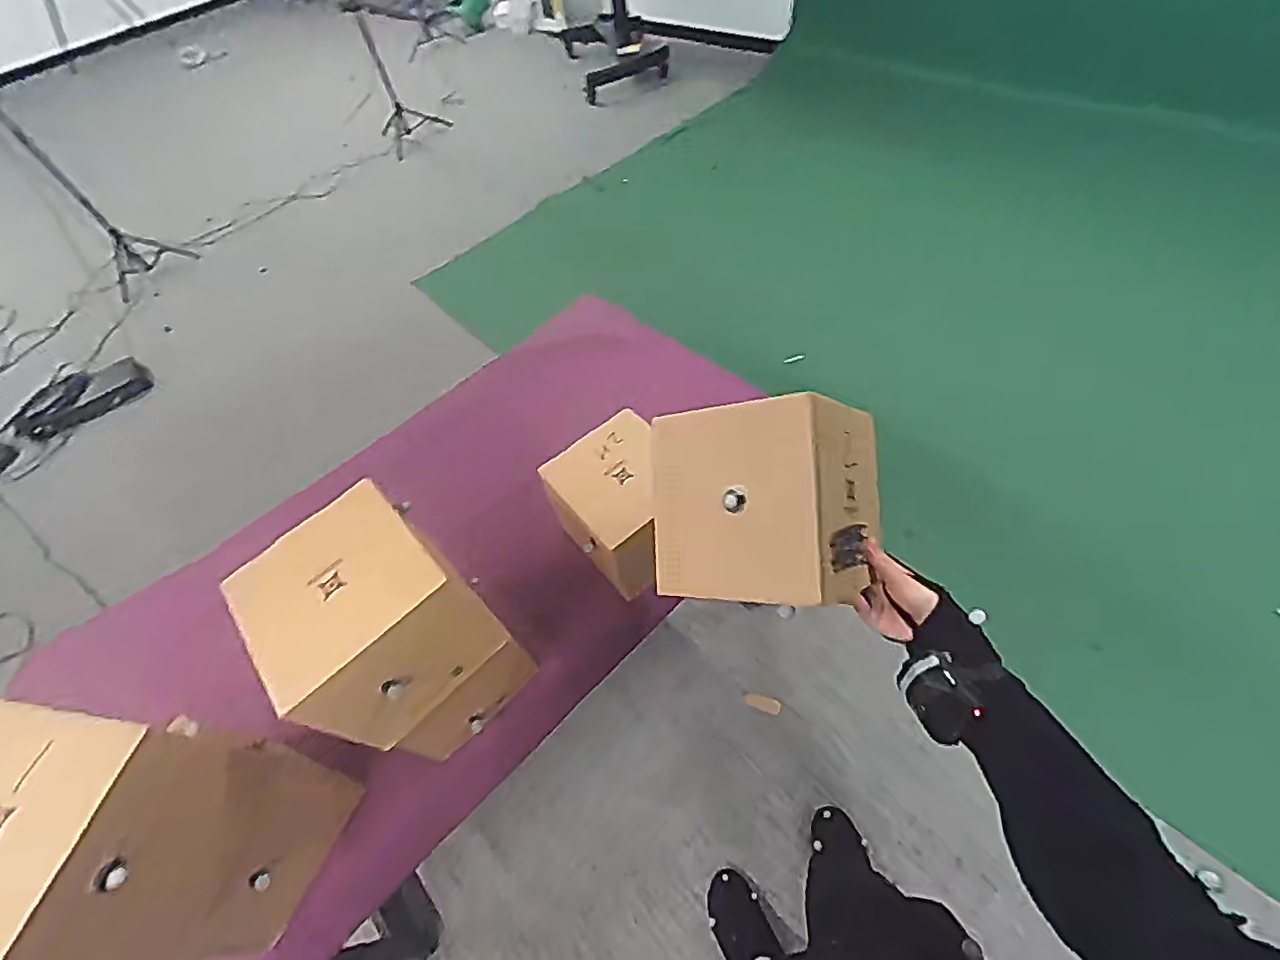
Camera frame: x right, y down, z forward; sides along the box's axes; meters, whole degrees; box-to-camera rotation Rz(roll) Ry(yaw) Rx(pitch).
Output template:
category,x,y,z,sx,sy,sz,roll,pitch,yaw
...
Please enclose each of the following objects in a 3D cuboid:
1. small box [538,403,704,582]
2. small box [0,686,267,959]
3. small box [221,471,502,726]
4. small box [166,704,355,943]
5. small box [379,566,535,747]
category,x,y,z,sx,sy,sz,roll,pitch,yaw
small box,-0.019,0.028,0.797,0.168,0.176,0.179,-36,58,-17
small box,-0.481,0.301,0.471,0.168,0.176,0.179,4,55,11
small box,-0.275,0.130,0.565,0.168,0.176,0.179,-41,58,-18
small box,-0.470,0.386,0.613,0.168,0.176,0.179,14,59,17
small box,-0.267,0.215,0.704,0.168,0.176,0.179,-40,58,-18
